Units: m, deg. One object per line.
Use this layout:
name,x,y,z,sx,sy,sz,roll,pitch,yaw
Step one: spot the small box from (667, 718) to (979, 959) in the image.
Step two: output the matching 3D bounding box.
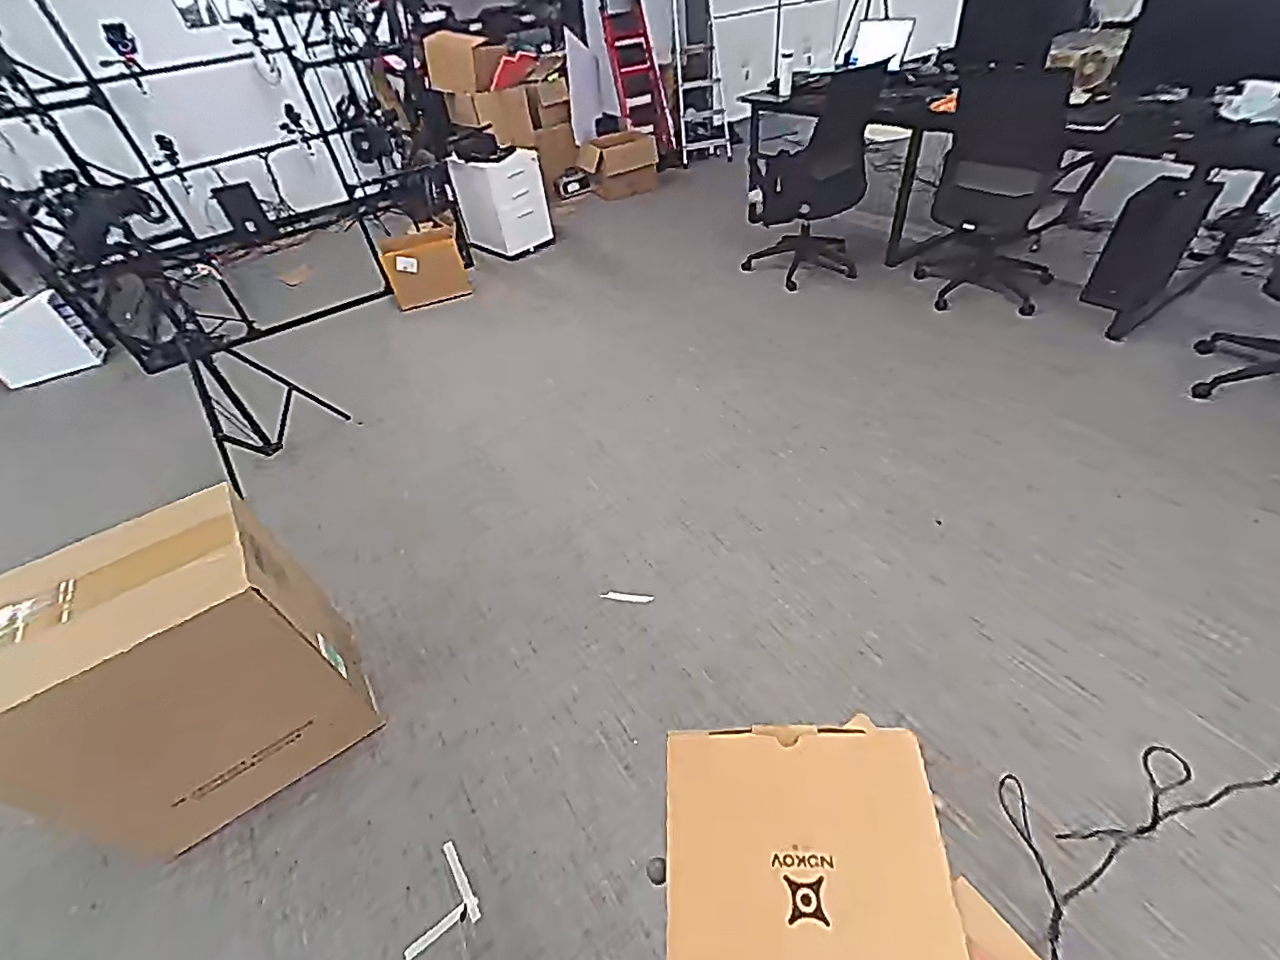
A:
small box,0.111,0.278,0.373,0.168,0.176,0.179,-5,51,9

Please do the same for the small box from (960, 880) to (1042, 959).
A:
small box,0.558,0.843,0.929,0.179,0.176,0.168,-27,44,-19
